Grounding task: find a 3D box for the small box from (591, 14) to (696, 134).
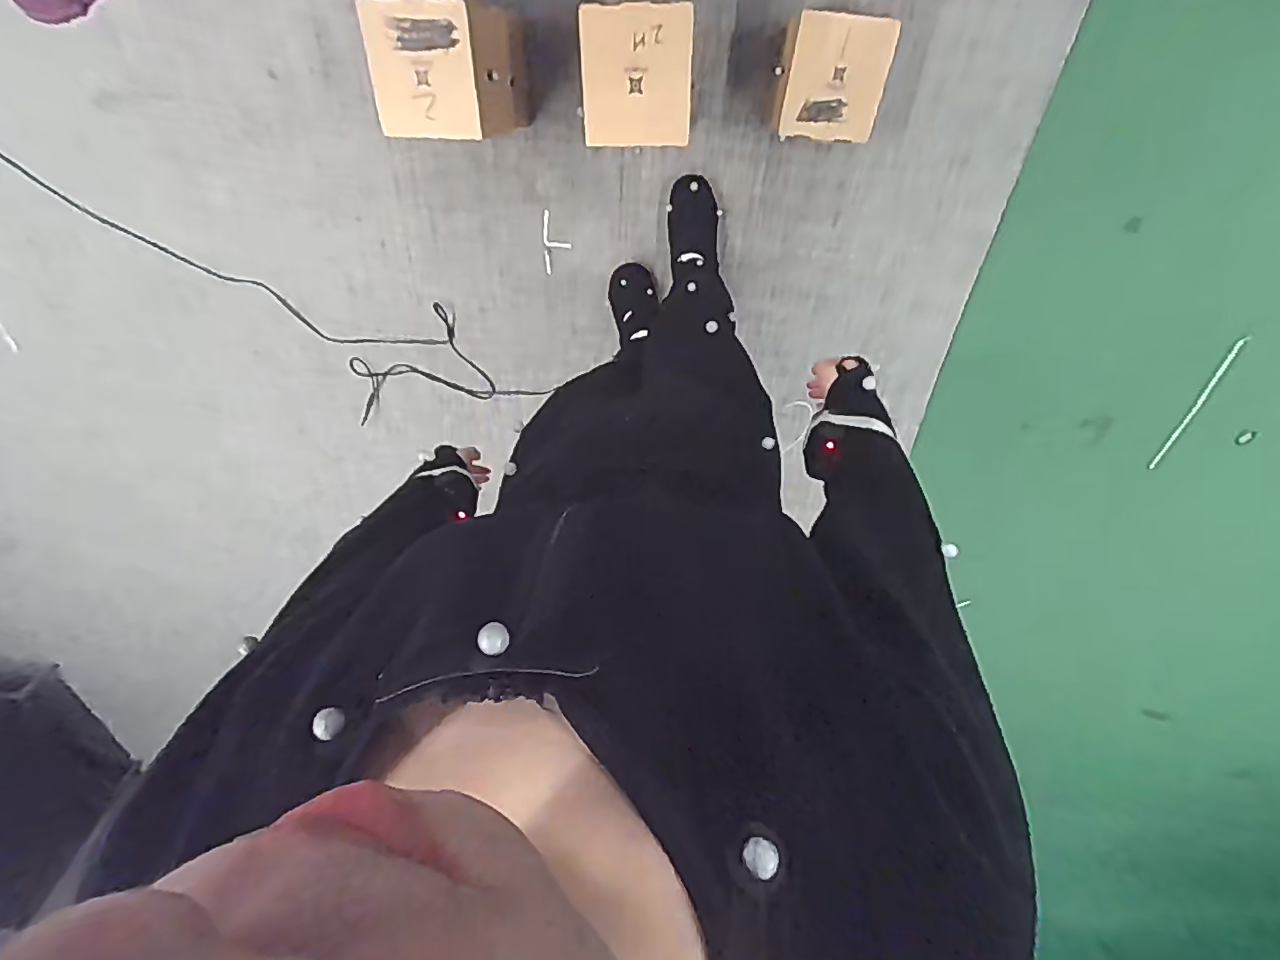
[{"bbox_3d":[0.009,-0.750,1.011,0.179,0.176,0.168,4,125,3],"label":"small box"}]
